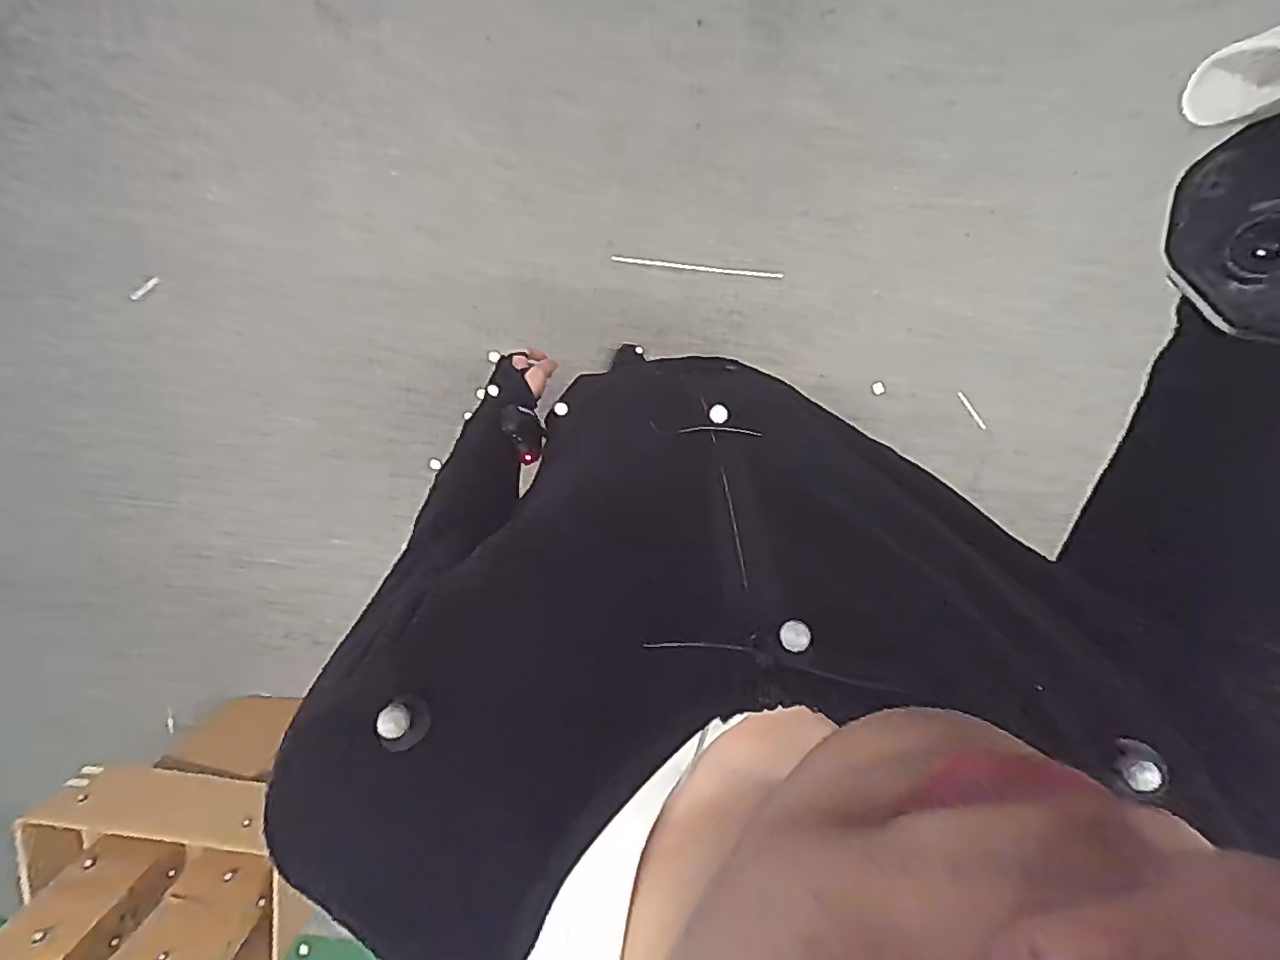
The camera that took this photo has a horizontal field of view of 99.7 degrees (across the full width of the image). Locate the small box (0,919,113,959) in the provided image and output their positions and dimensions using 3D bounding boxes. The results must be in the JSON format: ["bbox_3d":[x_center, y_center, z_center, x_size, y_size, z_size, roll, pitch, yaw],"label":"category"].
[{"bbox_3d":[-1.299,1.092,1.162,0.179,0.176,0.168,7,100,-4],"label":"small box"}]

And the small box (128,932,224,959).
[{"bbox_3d":[-1.055,1.138,1.172,0.179,0.176,0.168,19,99,-3],"label":"small box"}]

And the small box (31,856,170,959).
[{"bbox_3d":[-1.307,1.060,1.320,0.179,0.176,0.168,8,101,-3],"label":"small box"}]
